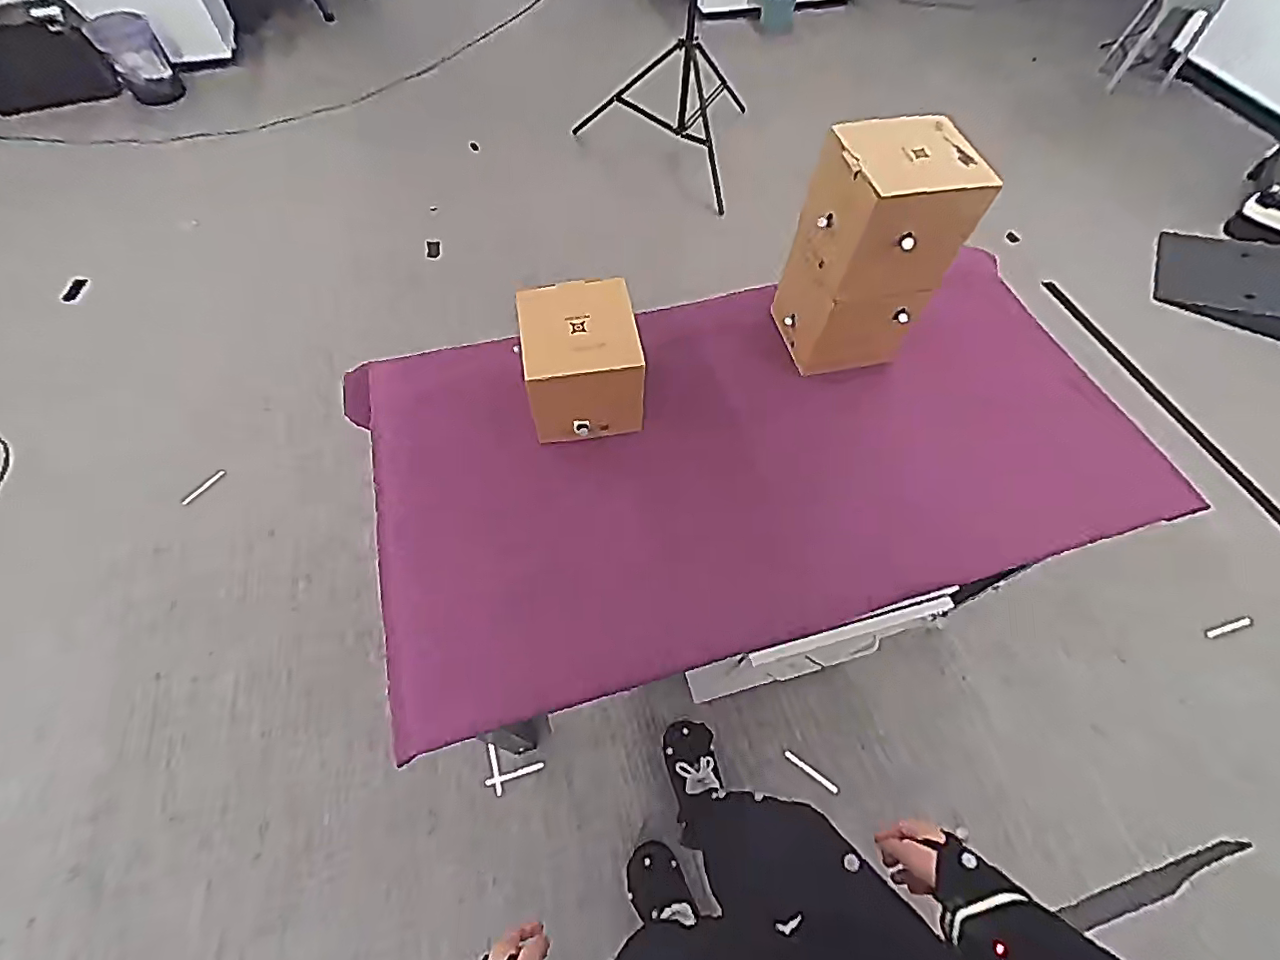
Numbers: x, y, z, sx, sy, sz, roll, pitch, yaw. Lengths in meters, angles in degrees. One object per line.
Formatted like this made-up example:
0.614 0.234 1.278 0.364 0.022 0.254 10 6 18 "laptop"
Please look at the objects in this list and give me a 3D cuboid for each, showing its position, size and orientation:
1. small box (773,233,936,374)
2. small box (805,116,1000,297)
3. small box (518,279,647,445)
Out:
0.351 -0.304 0.921 0.179 0.176 0.168 -11 61 -8 "small box"
0.355 -0.386 0.779 0.179 0.176 0.168 -10 62 -7 "small box"
-0.088 -0.178 0.835 0.168 0.176 0.179 -9 63 -6 "small box"
